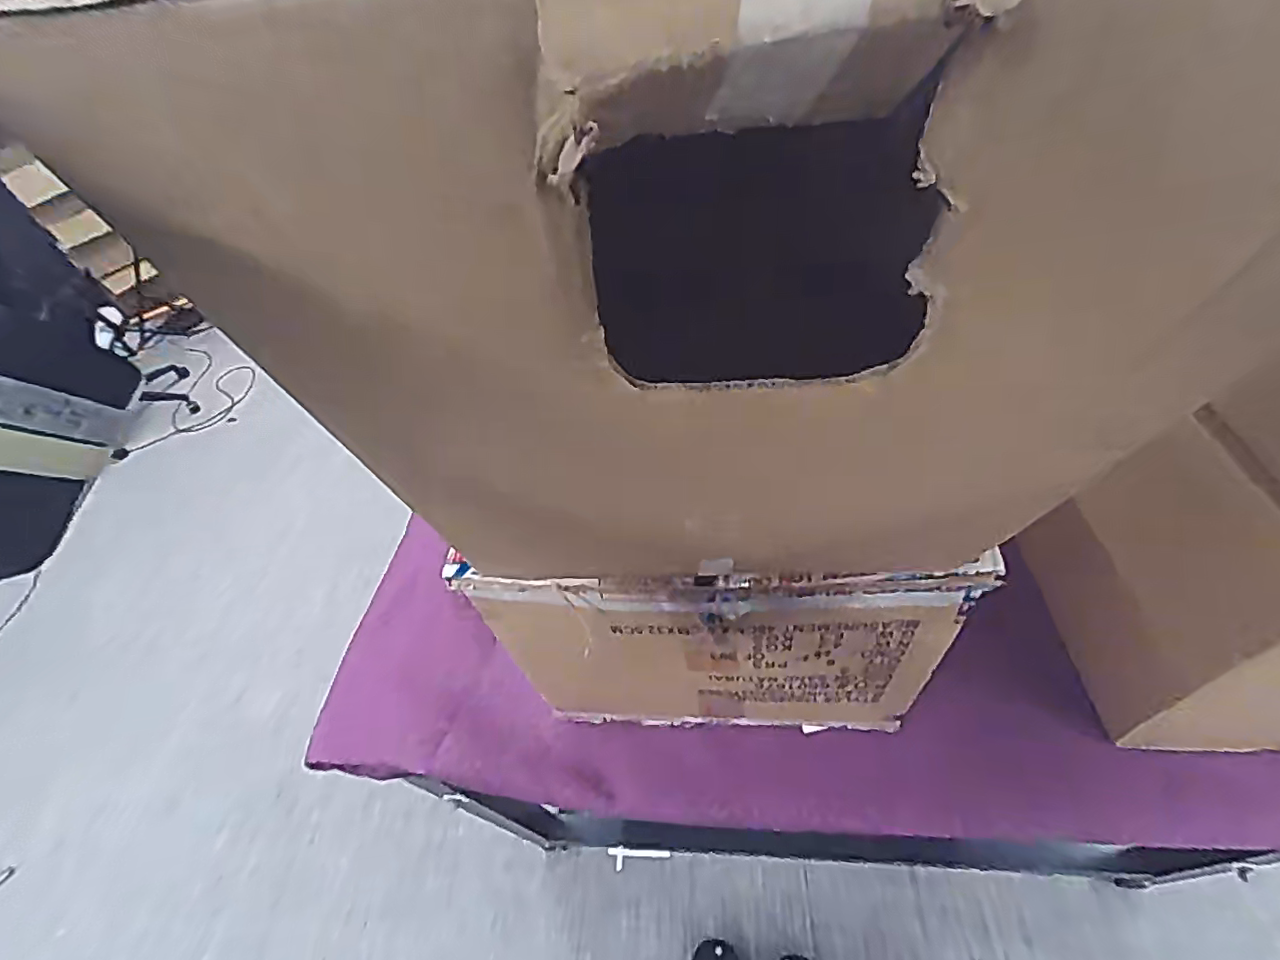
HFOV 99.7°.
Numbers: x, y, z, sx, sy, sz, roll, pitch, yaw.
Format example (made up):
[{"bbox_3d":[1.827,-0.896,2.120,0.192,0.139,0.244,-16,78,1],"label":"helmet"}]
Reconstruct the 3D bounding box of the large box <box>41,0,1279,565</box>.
[{"bbox_3d":[0.047,-0.191,0.312,0.320,0.320,0.408,-3,63,4],"label":"large box"}]
